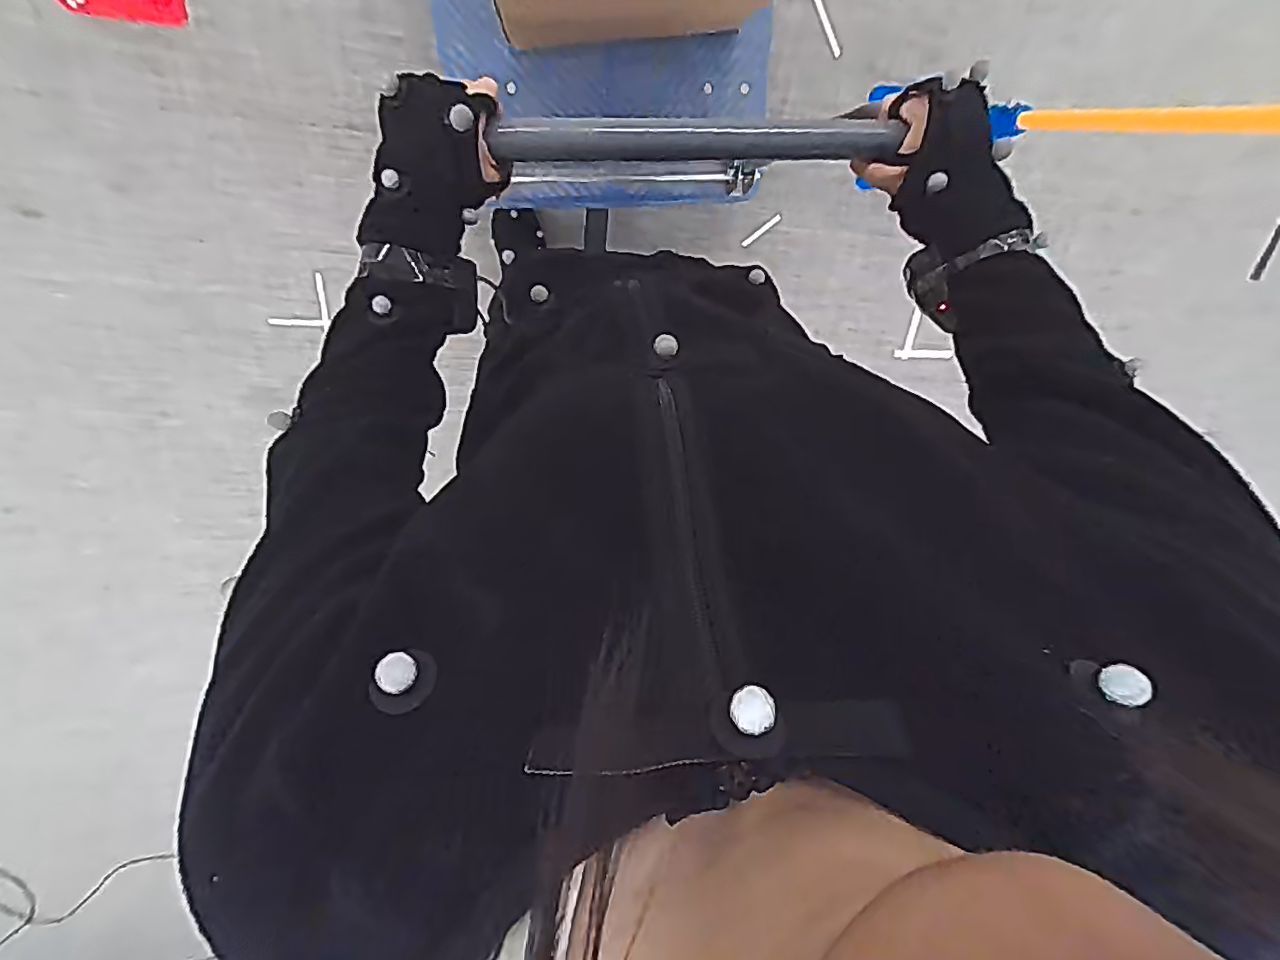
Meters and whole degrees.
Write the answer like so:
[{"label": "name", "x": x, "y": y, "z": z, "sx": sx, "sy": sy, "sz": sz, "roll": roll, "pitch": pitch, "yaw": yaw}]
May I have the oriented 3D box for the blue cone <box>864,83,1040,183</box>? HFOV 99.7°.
[{"label": "blue cone", "x": 0.626, "y": -0.706, "z": 1.074, "sx": 0.193, "sy": 0.380, "sz": 0.192, "roll": -3, "pitch": 117, "yaw": -8}]
